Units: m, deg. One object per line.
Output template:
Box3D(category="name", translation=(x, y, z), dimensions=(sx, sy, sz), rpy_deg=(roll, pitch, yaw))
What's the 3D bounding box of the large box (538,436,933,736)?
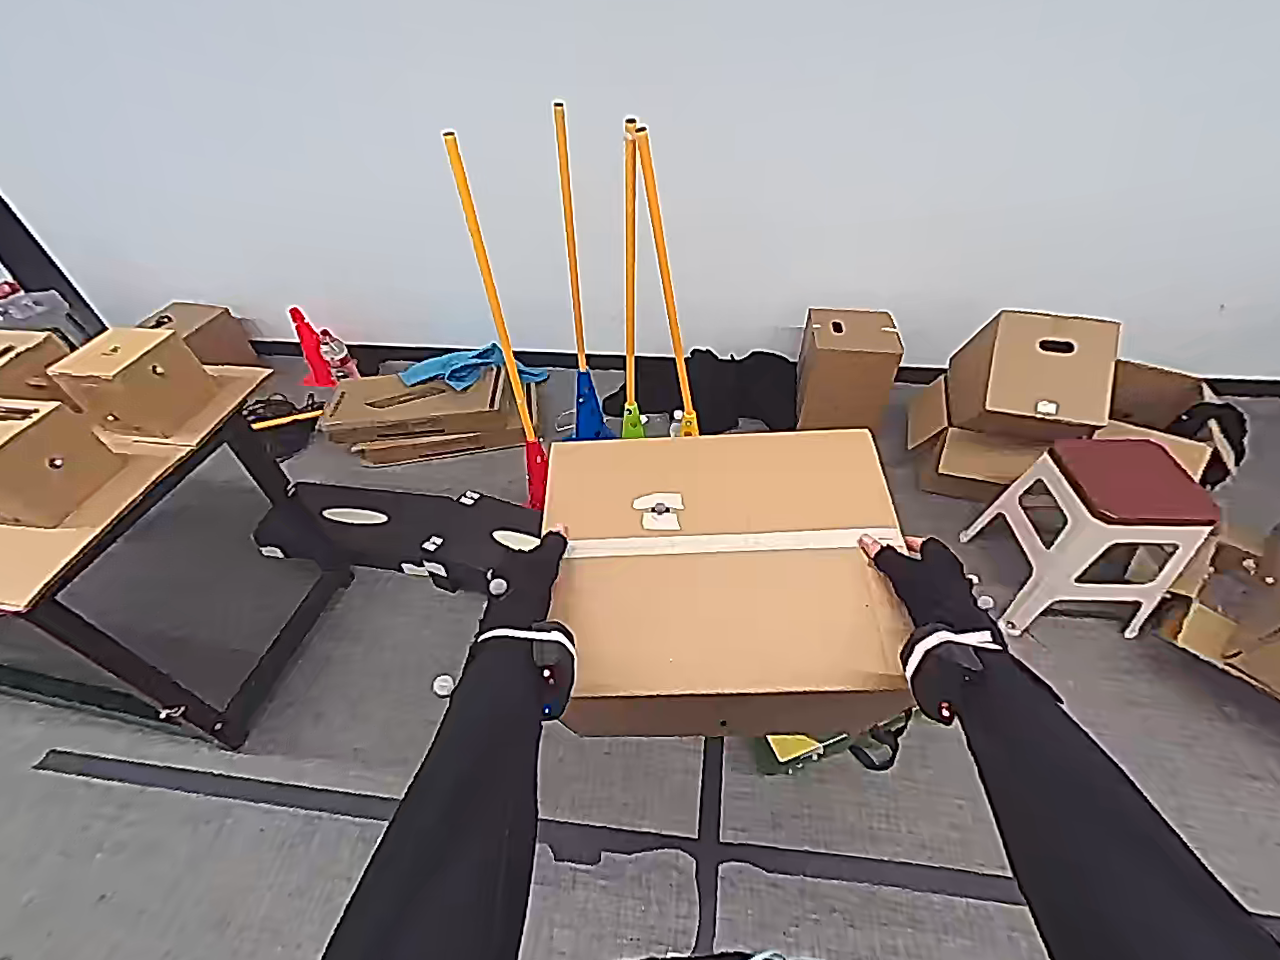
Box3D(category="large box", translation=(0.102, 0.163, 0.744), dimensions=(0.408, 0.320, 0.320), rpy_deg=(-3, 57, 3))
